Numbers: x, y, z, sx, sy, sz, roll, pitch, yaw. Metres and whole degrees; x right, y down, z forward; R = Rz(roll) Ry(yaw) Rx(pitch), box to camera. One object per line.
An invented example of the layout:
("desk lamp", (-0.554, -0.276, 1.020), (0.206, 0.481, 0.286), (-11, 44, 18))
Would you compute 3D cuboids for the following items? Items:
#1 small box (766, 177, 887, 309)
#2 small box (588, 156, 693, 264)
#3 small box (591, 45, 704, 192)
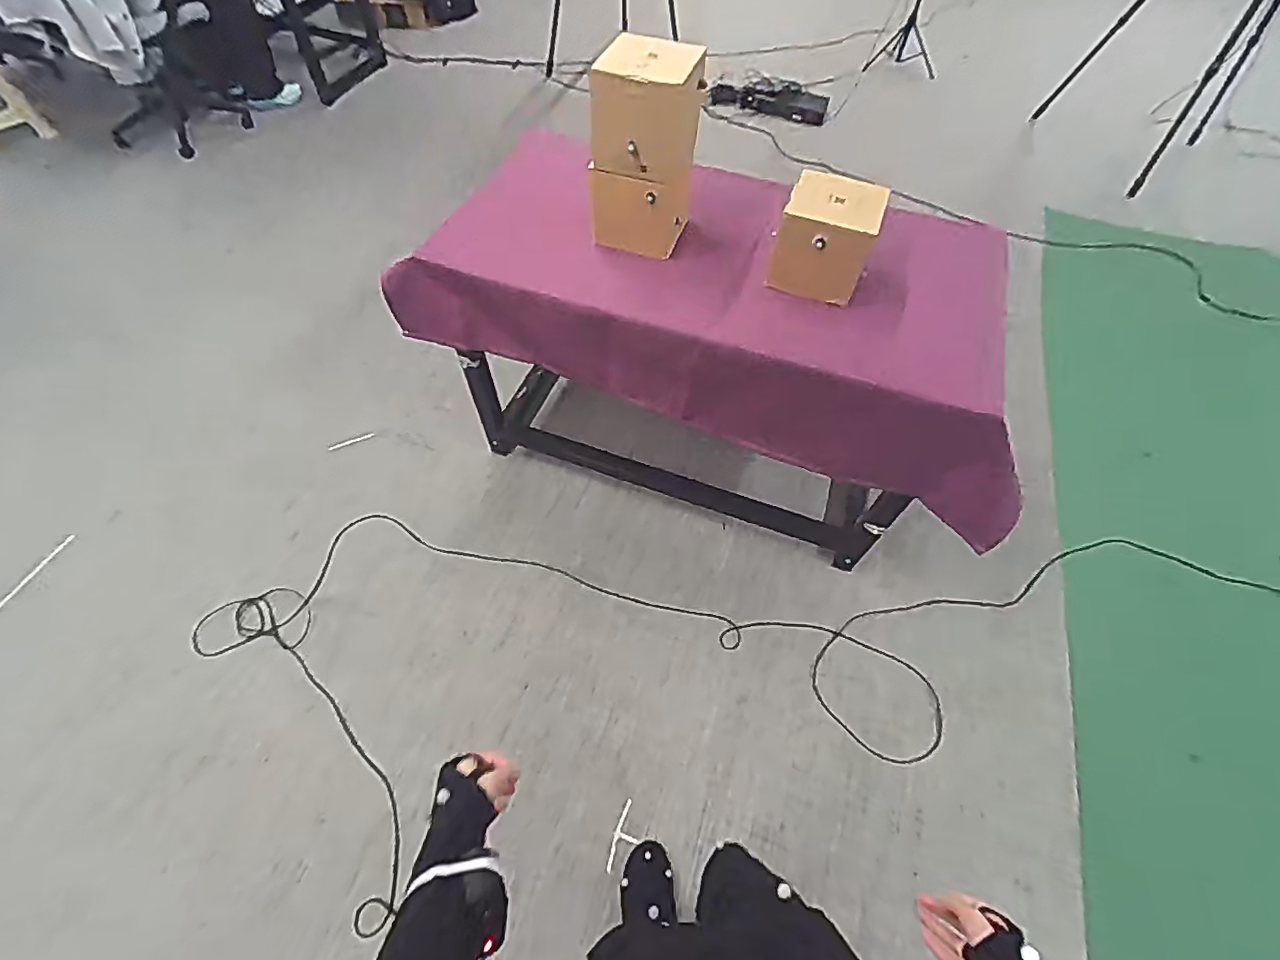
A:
("small box", (0.370, -0.474, 1.094), (0.179, 0.176, 0.168), (20, 59, 11))
("small box", (0.001, -0.593, 1.166), (0.179, 0.176, 0.168), (16, 58, 8))
("small box", (0.013, -0.685, 1.030), (0.168, 0.176, 0.179), (16, 58, 9))
